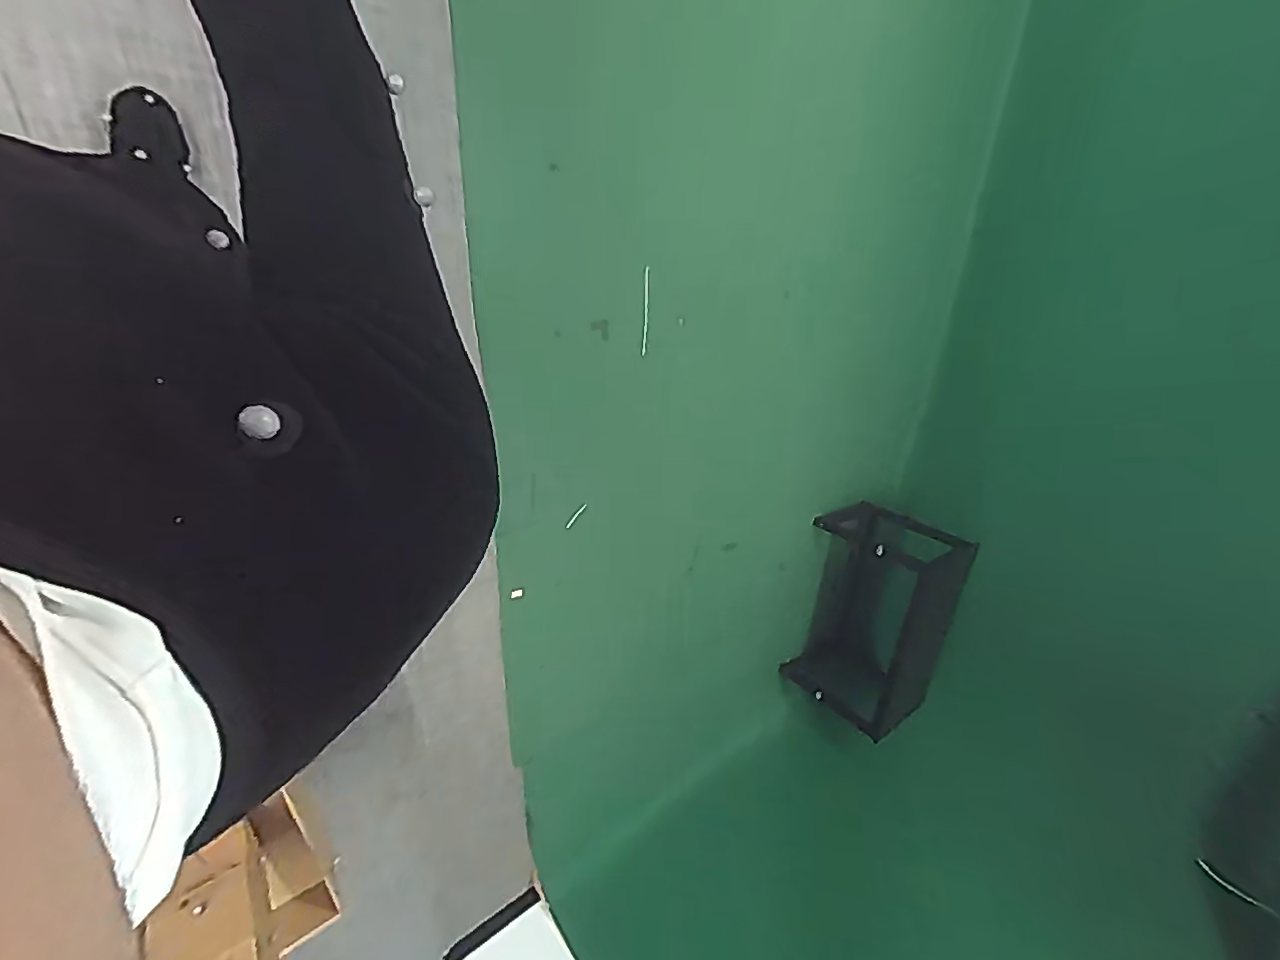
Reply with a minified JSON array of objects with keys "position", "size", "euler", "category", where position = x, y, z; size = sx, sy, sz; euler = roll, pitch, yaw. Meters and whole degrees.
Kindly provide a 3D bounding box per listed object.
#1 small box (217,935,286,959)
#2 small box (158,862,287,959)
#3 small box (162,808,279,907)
[{"position":[-0.730,0.987,0.975],"size":[0.168,0.176,0.179],"euler":[-20,123,-33],"category":"small box"},{"position":[-0.832,0.925,1.085],"size":[0.168,0.176,0.179],"euler":[-20,123,-34],"category":"small box"},{"position":[-0.935,0.876,1.205],"size":[0.168,0.176,0.179],"euler":[-19,124,-34],"category":"small box"}]
